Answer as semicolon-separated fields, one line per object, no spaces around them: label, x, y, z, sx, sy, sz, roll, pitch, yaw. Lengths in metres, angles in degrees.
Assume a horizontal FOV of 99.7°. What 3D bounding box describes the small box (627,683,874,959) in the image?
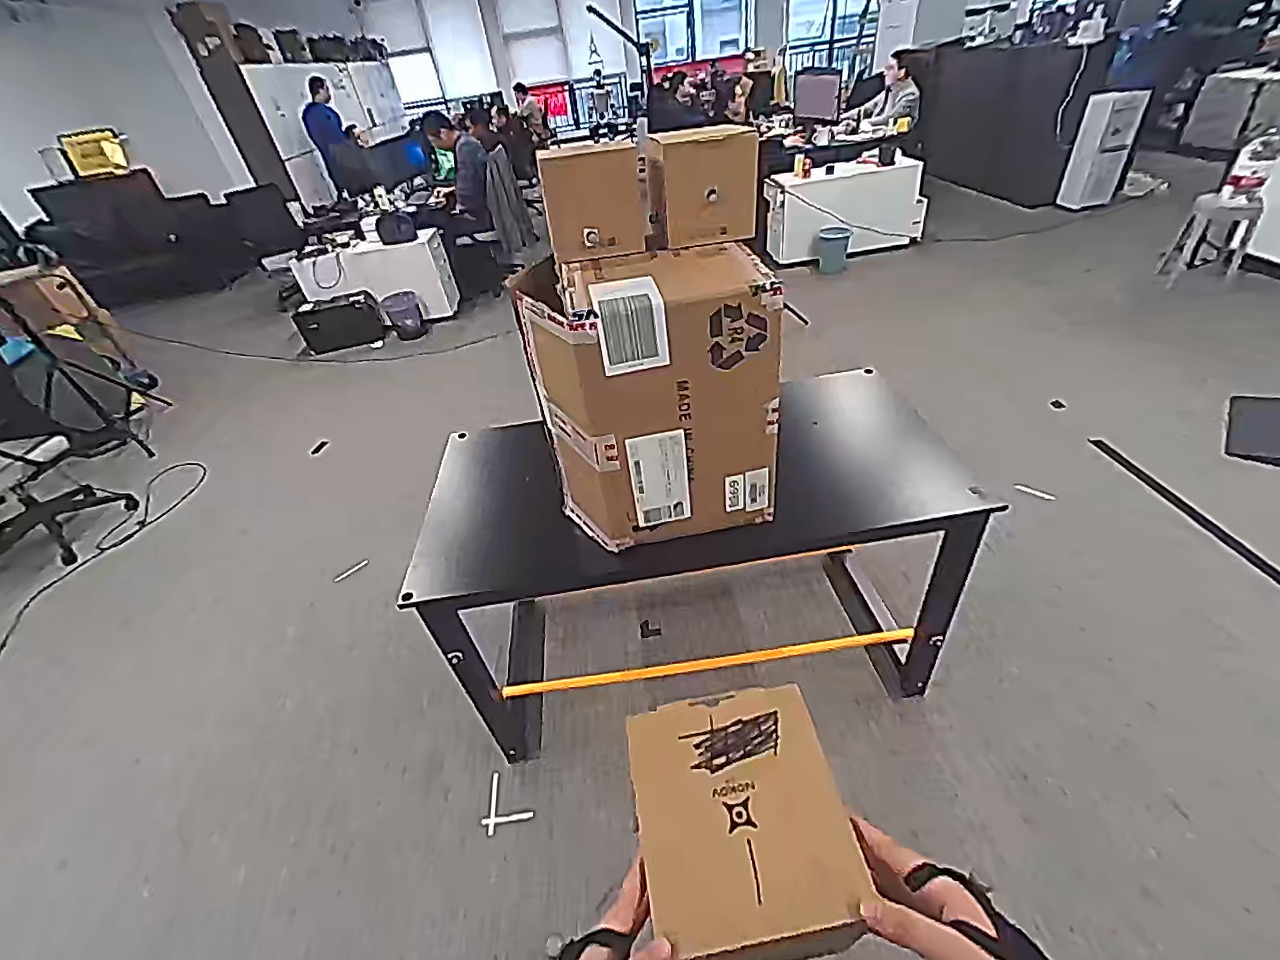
small box;0.084;0.320;0.499;0.168;0.176;0.179;-10;43;-2

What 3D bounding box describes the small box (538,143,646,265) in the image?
small box;-0.089;-0.506;0.993;0.168;0.176;0.179;-12;36;-5

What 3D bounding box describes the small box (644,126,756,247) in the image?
small box;0.108;-0.539;0.999;0.168;0.176;0.179;-10;38;-5
